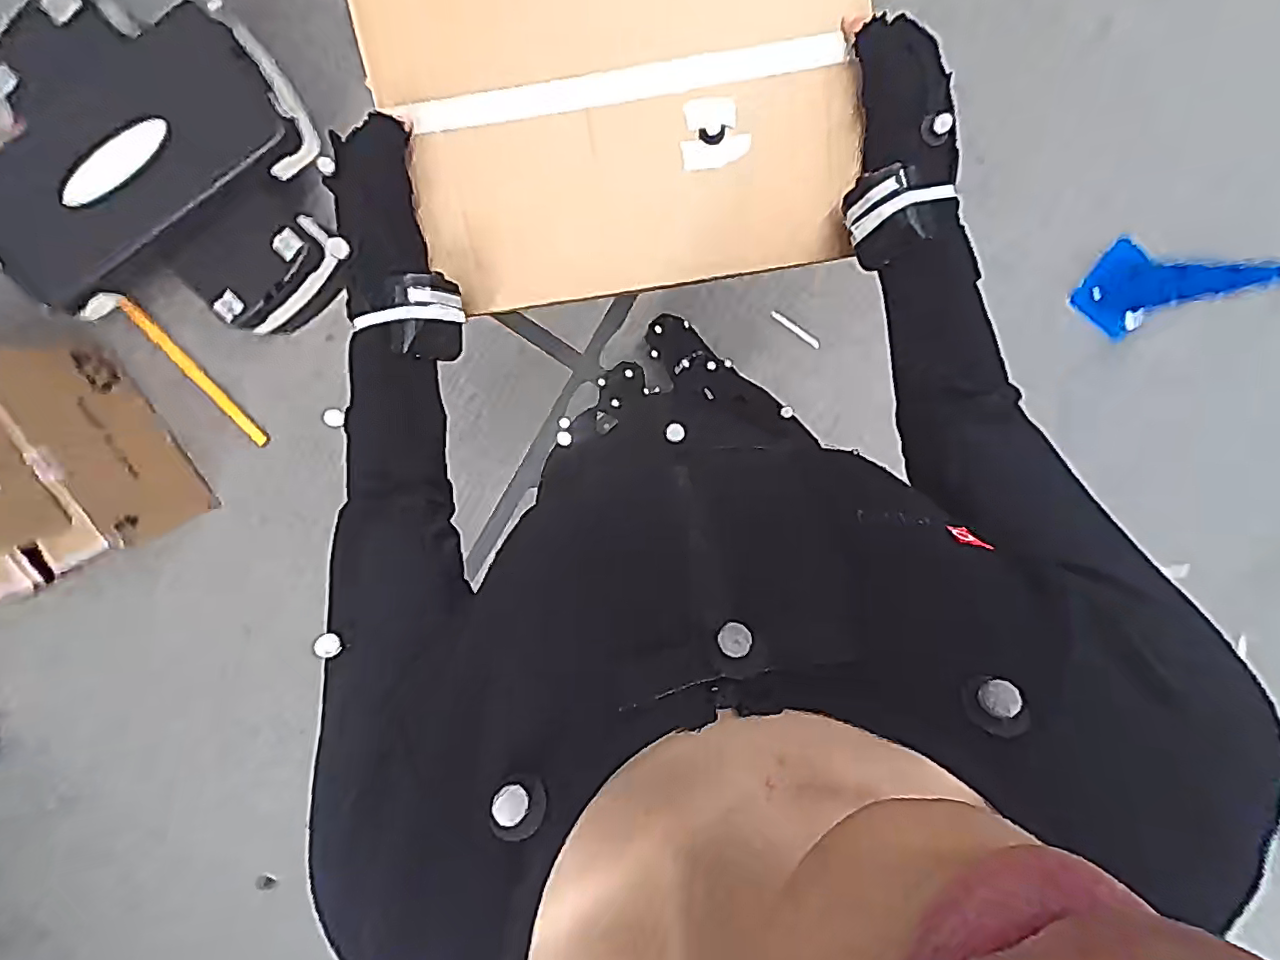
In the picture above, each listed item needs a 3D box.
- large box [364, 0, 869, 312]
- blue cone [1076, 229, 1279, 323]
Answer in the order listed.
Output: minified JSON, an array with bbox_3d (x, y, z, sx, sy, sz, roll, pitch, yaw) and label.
[{"bbox_3d":[-0.016,-0.371,0.587,0.408,0.320,0.320,-8,109,0],"label":"large box"},{"bbox_3d":[1.242,-0.482,1.231,0.193,0.380,0.192,34,100,-9],"label":"blue cone"}]
